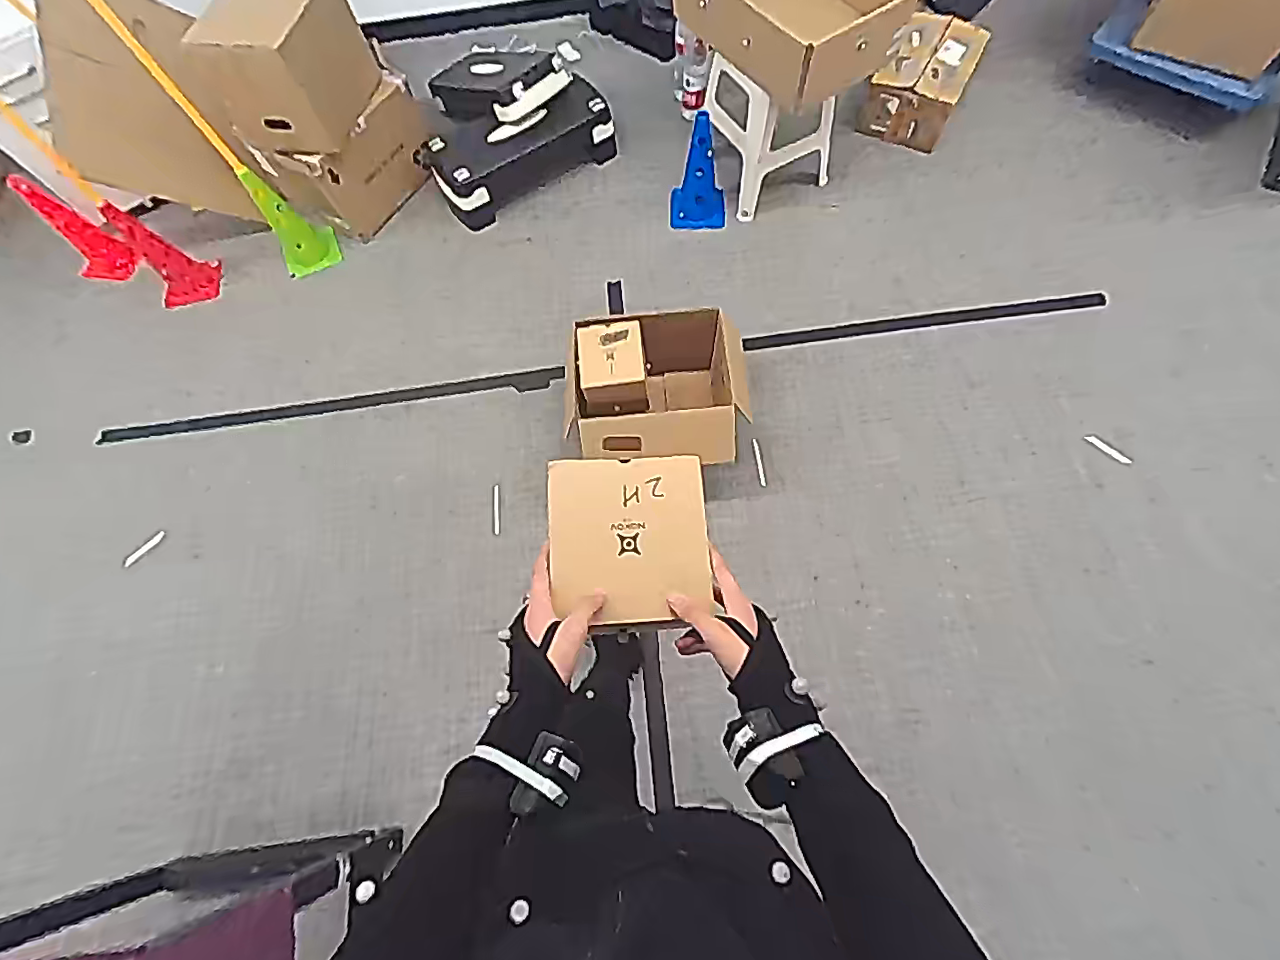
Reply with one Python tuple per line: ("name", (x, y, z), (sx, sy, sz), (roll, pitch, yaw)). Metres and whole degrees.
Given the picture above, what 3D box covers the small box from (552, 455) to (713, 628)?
("small box", (-0.016, 0.082, 0.641), (0.168, 0.176, 0.179), (-1, 71, -6))
